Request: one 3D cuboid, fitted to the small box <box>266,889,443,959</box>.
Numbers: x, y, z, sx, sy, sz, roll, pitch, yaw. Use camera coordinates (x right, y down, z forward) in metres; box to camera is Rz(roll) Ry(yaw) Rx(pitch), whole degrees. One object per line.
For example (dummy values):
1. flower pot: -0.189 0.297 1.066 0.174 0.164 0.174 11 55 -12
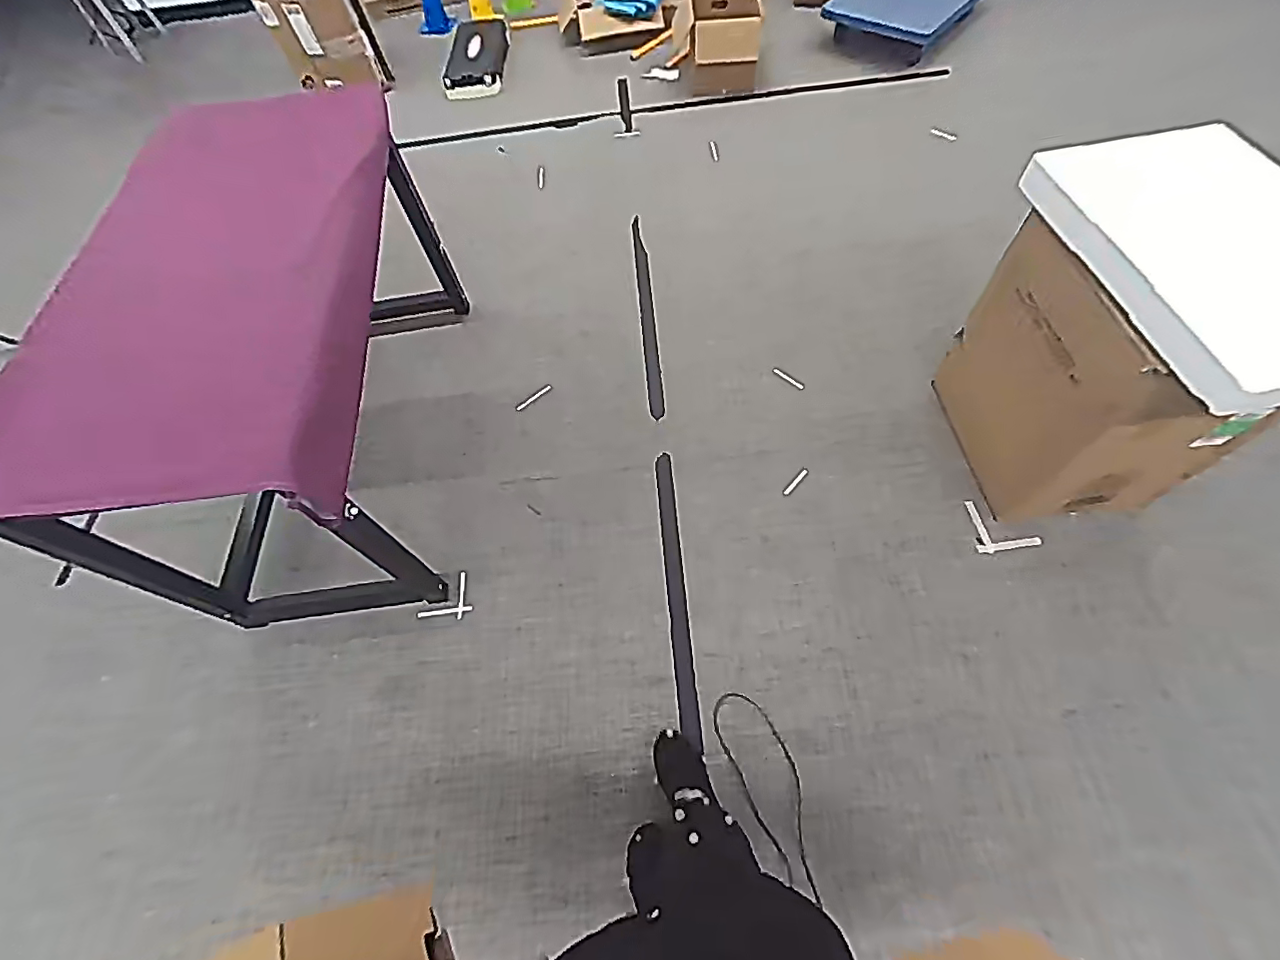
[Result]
1. small box: -0.342 0.631 0.621 0.168 0.179 0.176 36 103 48
